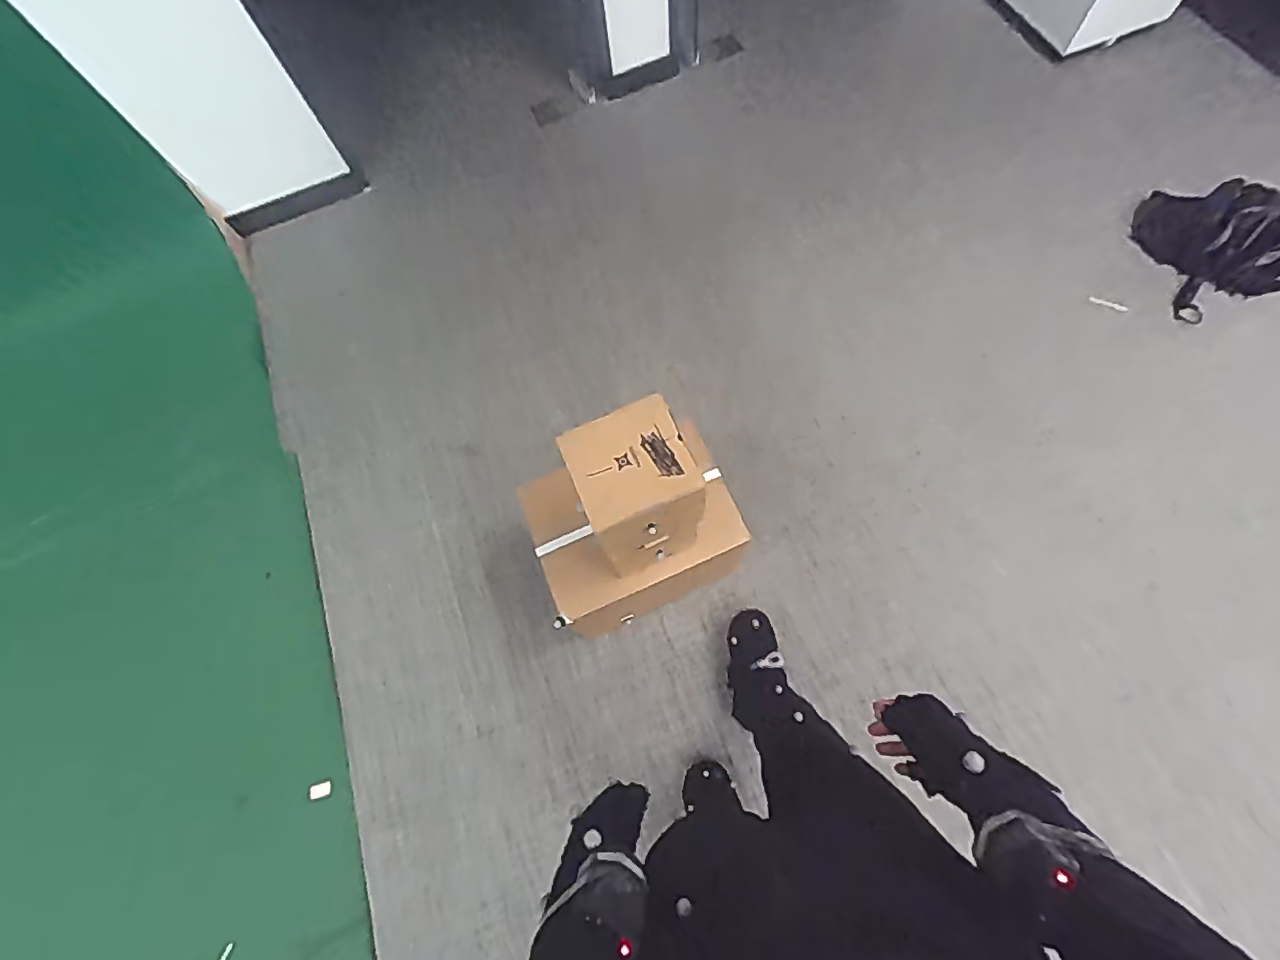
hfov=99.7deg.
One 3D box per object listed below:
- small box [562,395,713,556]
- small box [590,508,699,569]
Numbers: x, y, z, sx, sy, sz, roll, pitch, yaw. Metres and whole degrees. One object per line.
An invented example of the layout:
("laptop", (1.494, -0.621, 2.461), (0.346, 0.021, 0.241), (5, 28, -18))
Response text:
("small box", (-0.002, 0.000, 0.857), (0.179, 0.176, 0.168), (-26, 70, -5))
("small box", (0.002, 0.055, 1.013), (0.168, 0.176, 0.179), (-25, 70, -4))
